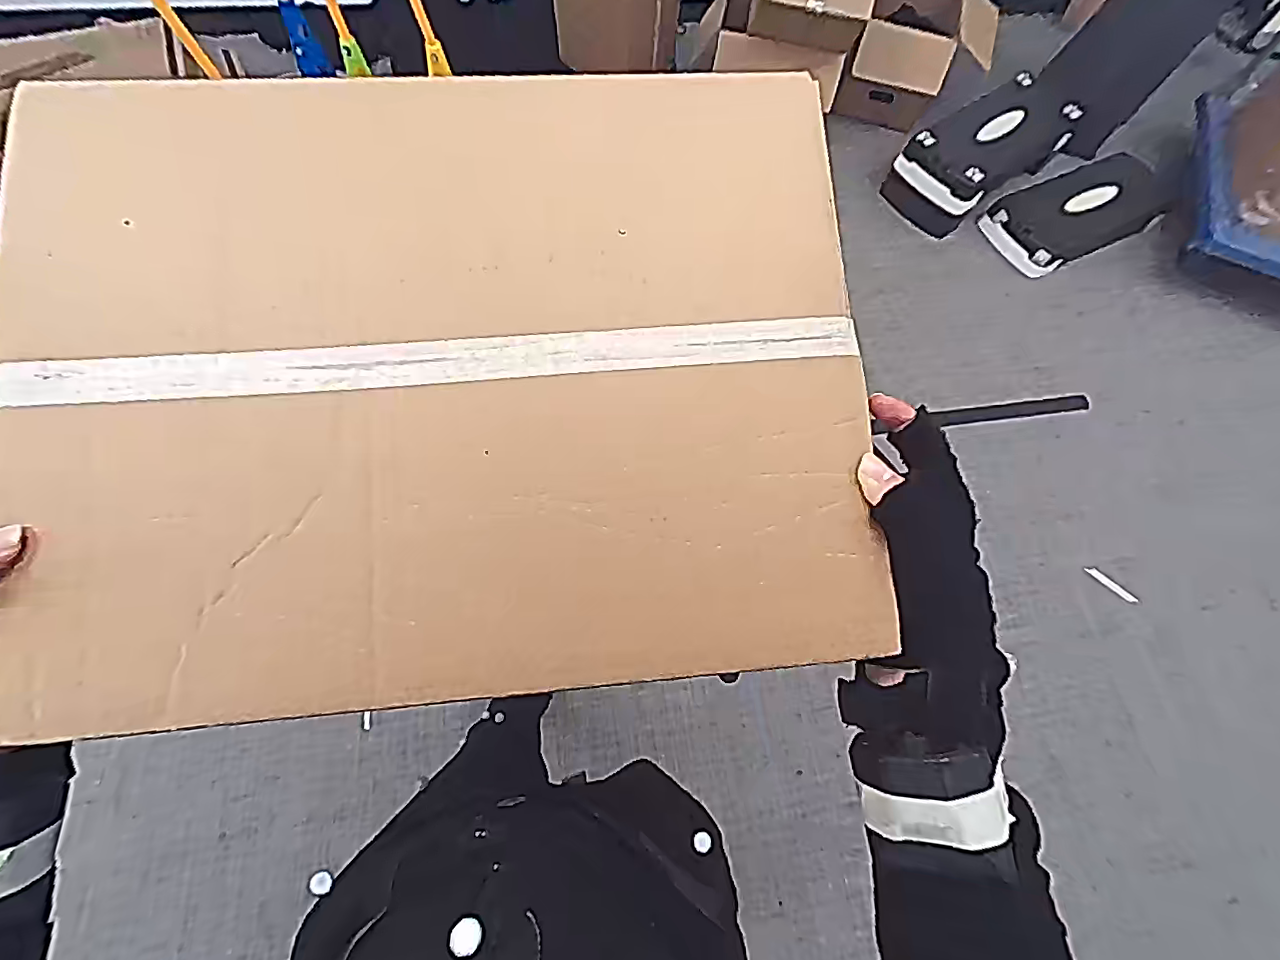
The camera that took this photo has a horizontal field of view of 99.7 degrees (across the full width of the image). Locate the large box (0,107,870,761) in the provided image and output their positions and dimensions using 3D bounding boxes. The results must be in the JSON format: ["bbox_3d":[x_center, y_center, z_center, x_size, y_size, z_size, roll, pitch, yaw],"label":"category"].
[{"bbox_3d":[-0.104,-0.023,0.418,0.408,0.320,0.320,-4,81,-4],"label":"large box"}]
